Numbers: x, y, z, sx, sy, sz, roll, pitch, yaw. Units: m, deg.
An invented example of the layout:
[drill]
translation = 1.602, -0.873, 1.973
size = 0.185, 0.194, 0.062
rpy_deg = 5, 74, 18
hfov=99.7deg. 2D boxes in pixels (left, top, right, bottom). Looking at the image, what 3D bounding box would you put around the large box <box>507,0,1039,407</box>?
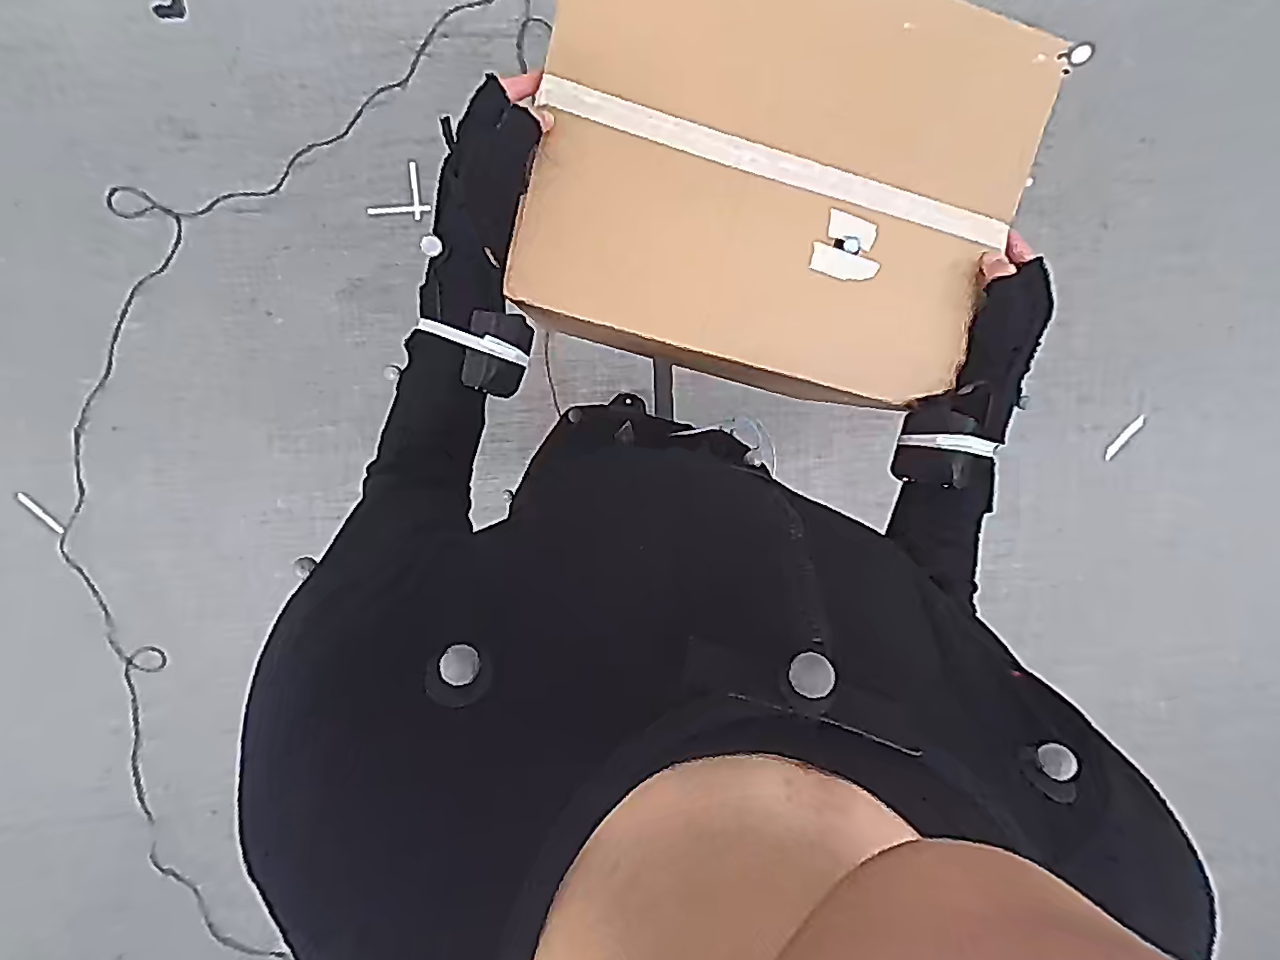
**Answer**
[large box]
translation = 0.095, -0.282, 0.596
size = 0.408, 0.320, 0.320
rpy_deg = 13, 101, -9
